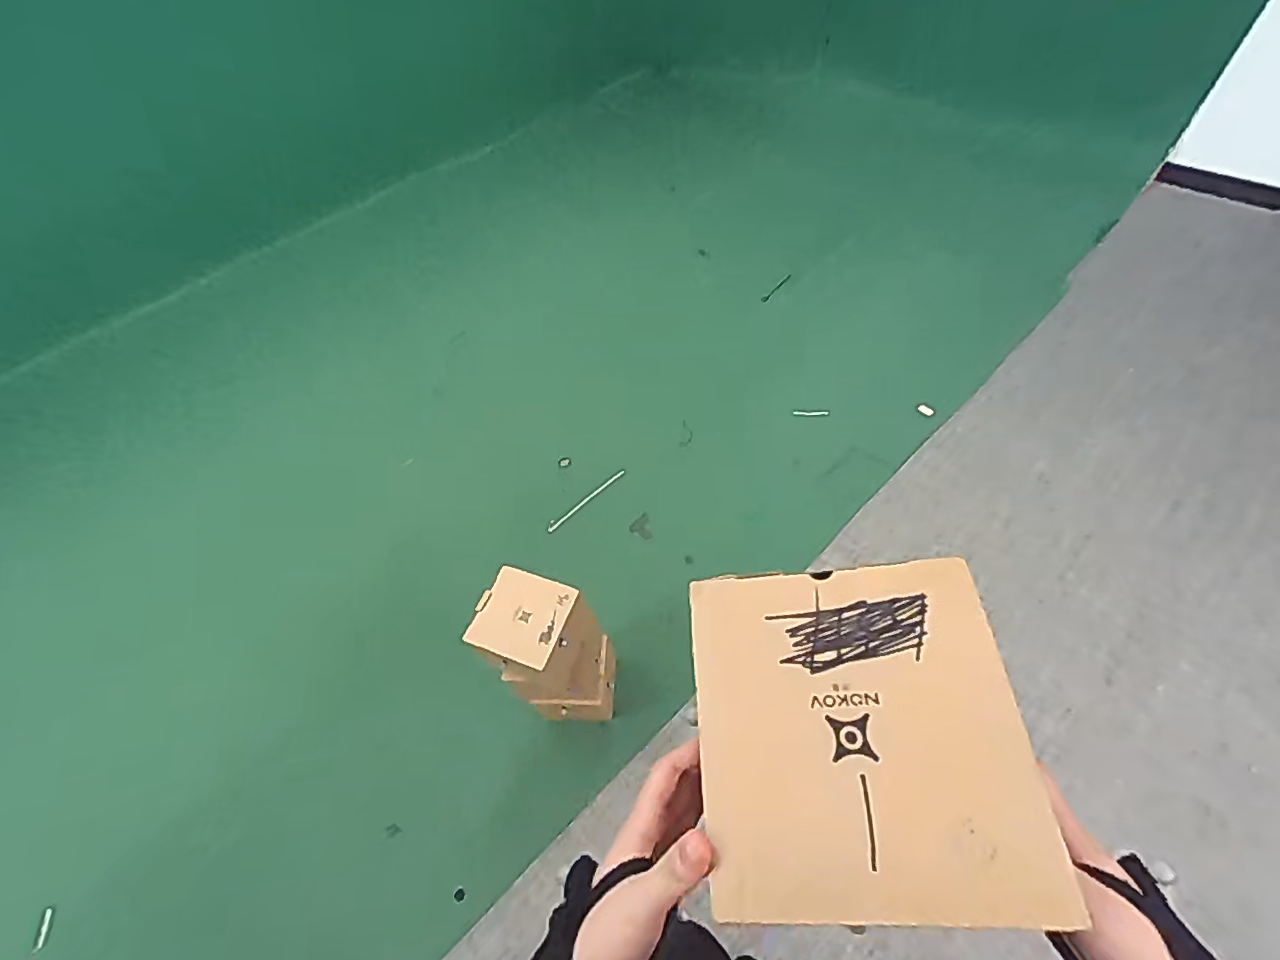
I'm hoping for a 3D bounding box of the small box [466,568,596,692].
[{"bbox_3d":[-0.209,0.305,1.085,0.179,0.176,0.168,14,59,17],"label":"small box"}]

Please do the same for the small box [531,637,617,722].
[{"bbox_3d":[-0.154,0.498,1.347,0.179,0.176,0.168,-2,55,7],"label":"small box"}]

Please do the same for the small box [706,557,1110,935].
[{"bbox_3d":[0.137,0.169,0.353,0.168,0.176,0.179,-8,58,11],"label":"small box"}]
